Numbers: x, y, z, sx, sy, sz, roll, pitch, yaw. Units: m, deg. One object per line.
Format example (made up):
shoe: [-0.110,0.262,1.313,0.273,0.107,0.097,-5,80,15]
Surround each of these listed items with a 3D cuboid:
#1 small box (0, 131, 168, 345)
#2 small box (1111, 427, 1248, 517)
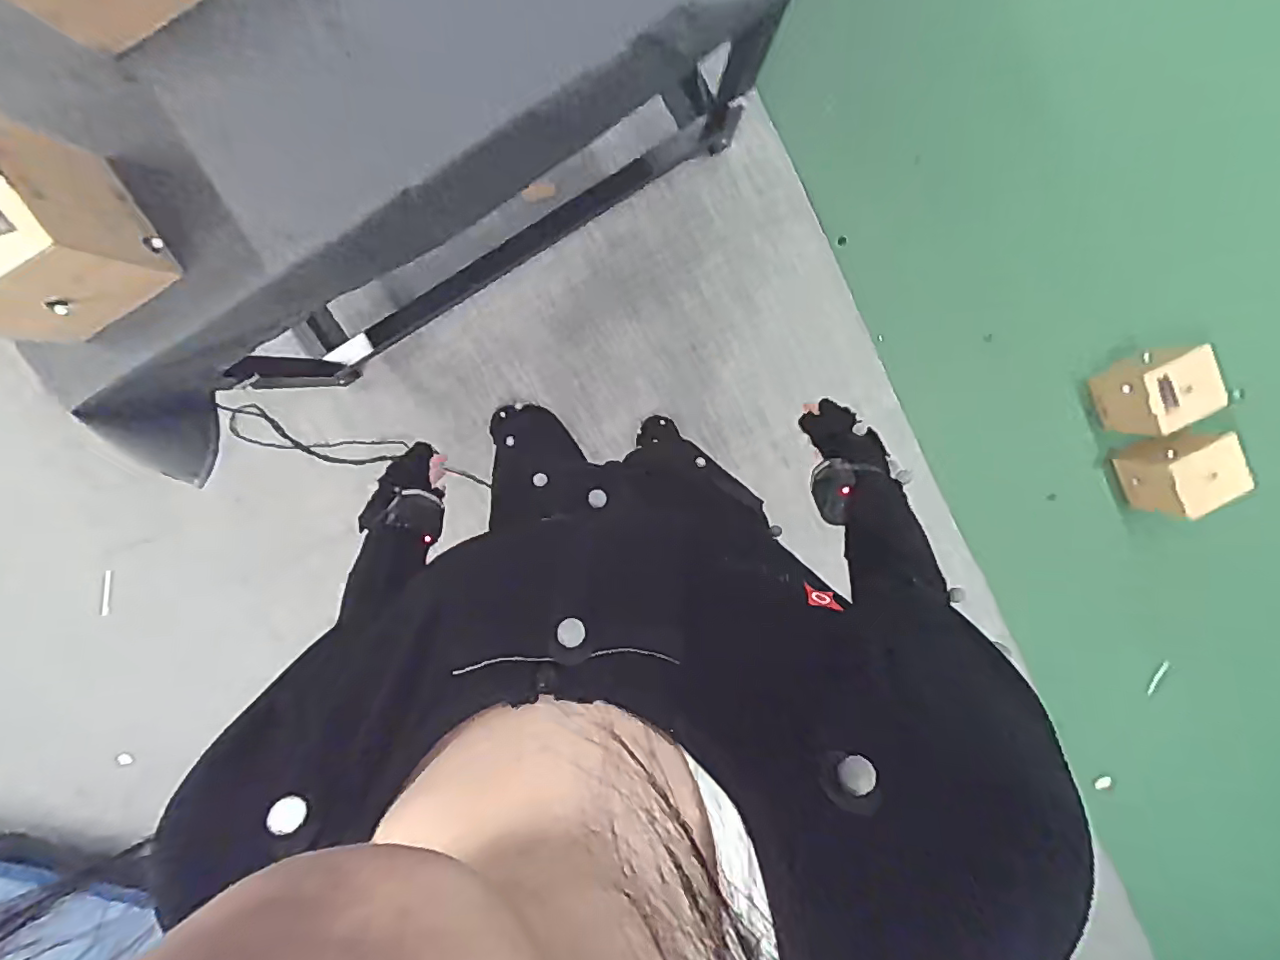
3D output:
small box: [-0.702,-0.271,0.616,0.179,0.176,0.168,-31,99,4]
small box: [1.436,-0.030,1.449,0.179,0.176,0.168,-30,100,5]
